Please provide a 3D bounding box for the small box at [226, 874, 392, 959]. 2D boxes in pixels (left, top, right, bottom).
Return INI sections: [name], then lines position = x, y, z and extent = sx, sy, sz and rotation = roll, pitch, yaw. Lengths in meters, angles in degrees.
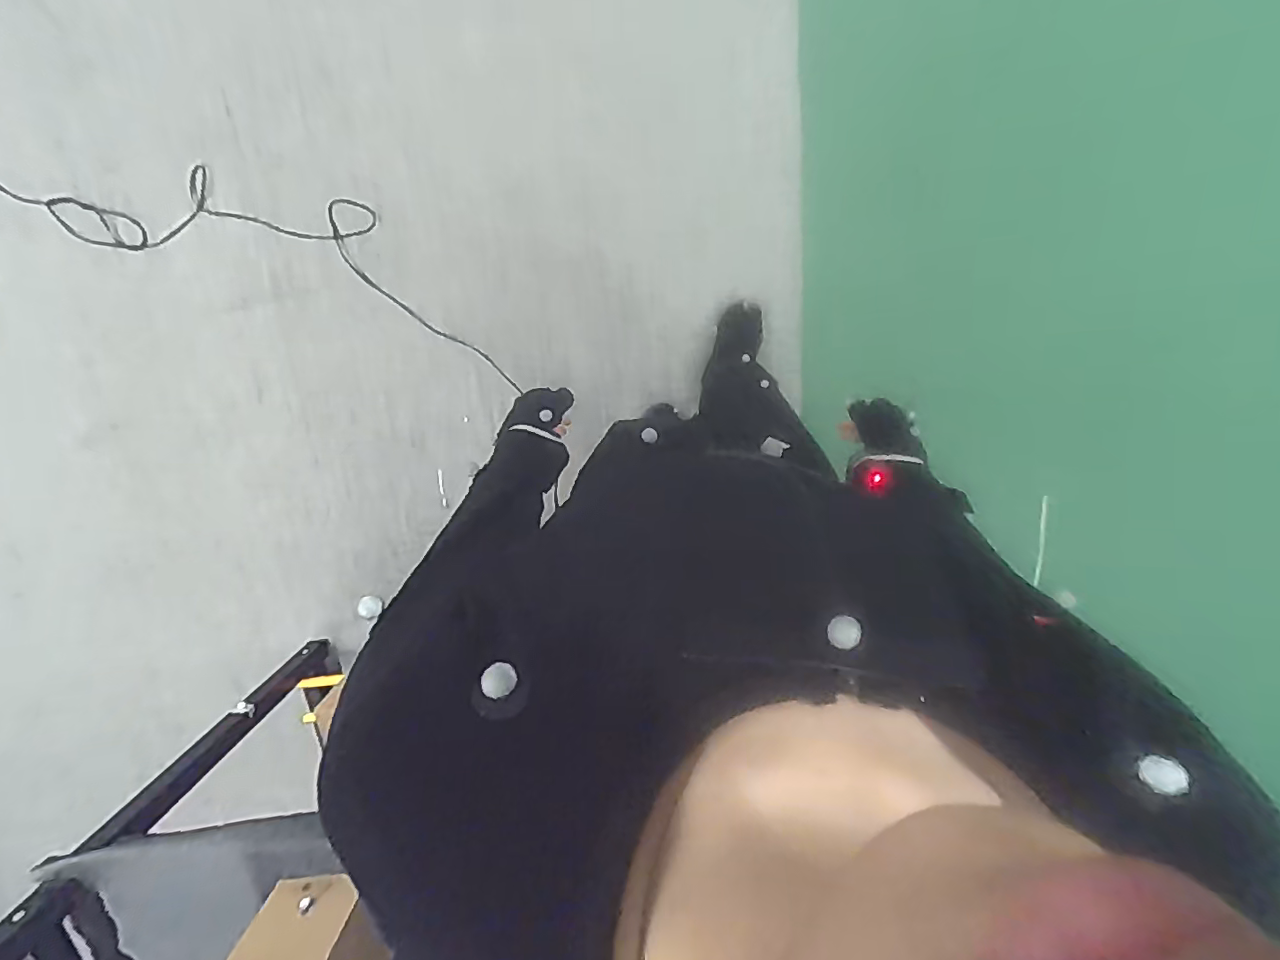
[small box]
position = -0.518, 0.767, 0.848
extent = 0.168, 0.176, 0.179
rotation = -8, 105, 2
